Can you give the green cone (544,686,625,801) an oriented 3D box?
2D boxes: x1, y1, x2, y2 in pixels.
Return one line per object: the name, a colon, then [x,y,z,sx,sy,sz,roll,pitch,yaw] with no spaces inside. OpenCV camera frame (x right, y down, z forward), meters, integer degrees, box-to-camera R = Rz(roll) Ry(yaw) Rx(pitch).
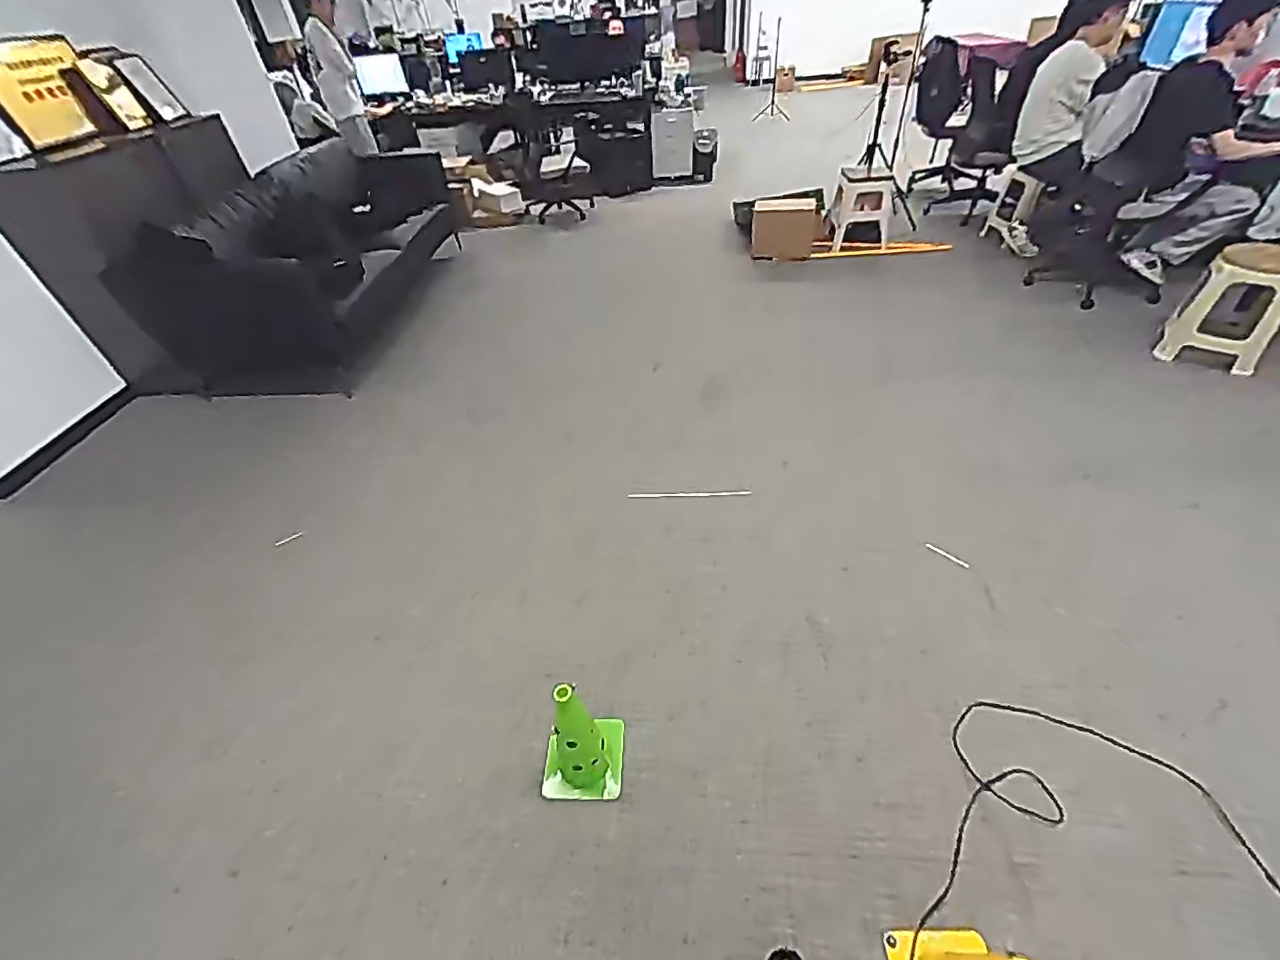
green cone: [-0.151,0.603,1.299,0.202,0.368,0.200,-1,43,3]
